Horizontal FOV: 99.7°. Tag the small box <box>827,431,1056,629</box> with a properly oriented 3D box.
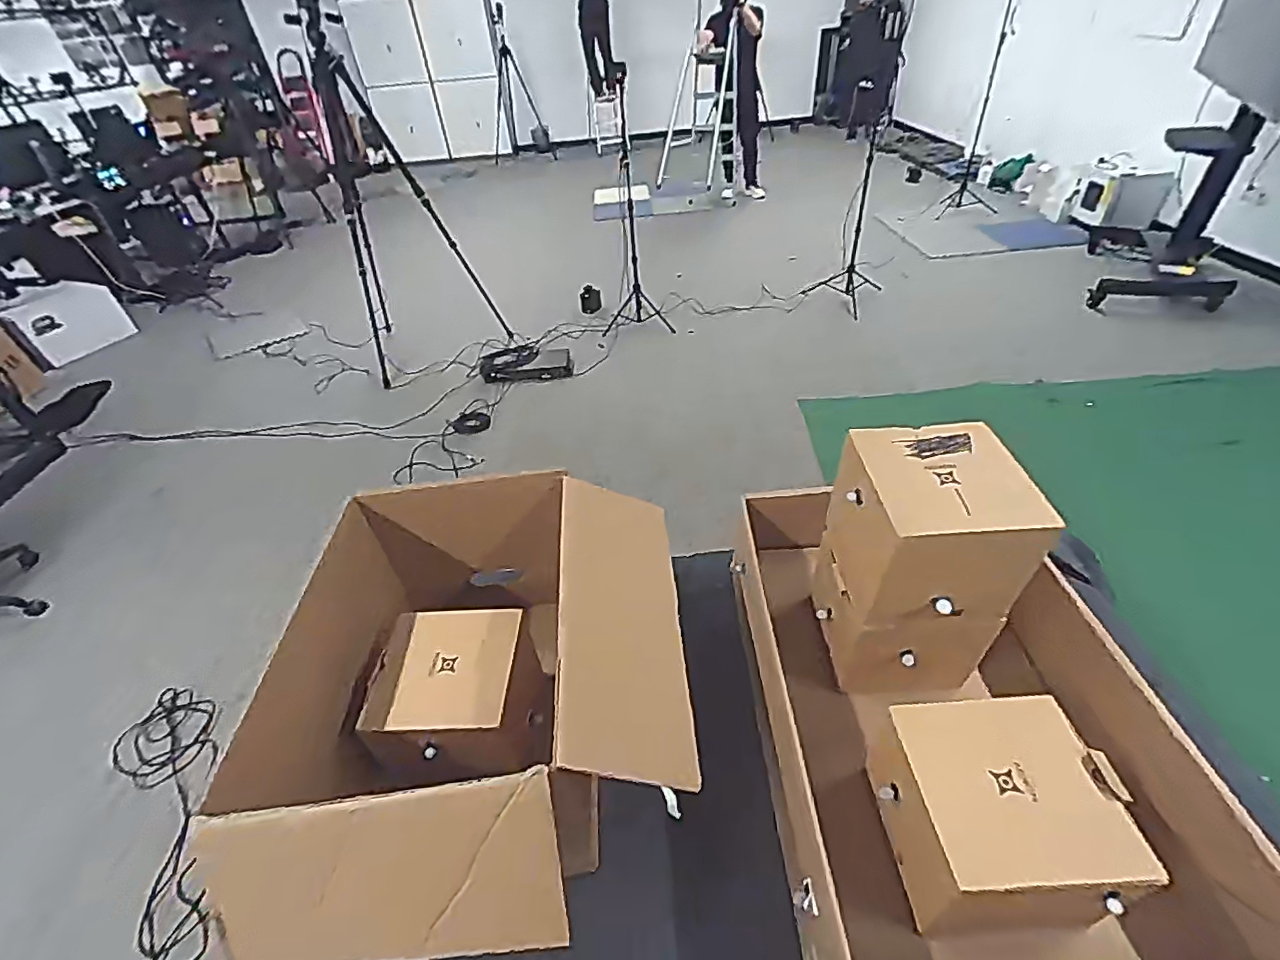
[{"bbox_3d":[0.340,0.060,0.659,0.168,0.176,0.179,-3,44,2],"label":"small box"}]
